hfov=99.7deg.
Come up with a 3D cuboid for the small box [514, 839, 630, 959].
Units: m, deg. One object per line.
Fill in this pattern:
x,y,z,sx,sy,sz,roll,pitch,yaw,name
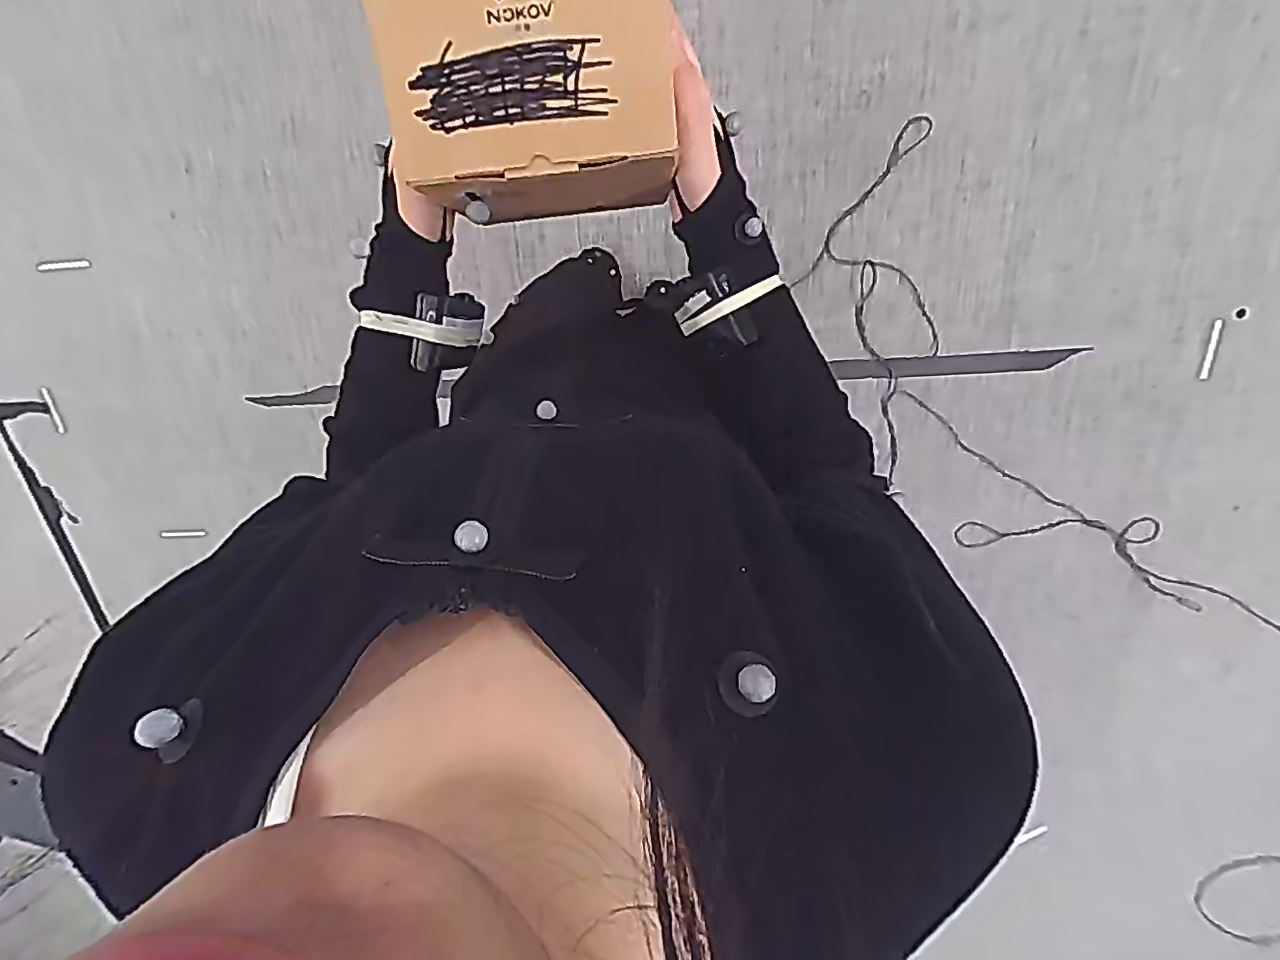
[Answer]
-0.108,0.771,0.945,0.168,0.176,0.179,-1,111,4,small box
